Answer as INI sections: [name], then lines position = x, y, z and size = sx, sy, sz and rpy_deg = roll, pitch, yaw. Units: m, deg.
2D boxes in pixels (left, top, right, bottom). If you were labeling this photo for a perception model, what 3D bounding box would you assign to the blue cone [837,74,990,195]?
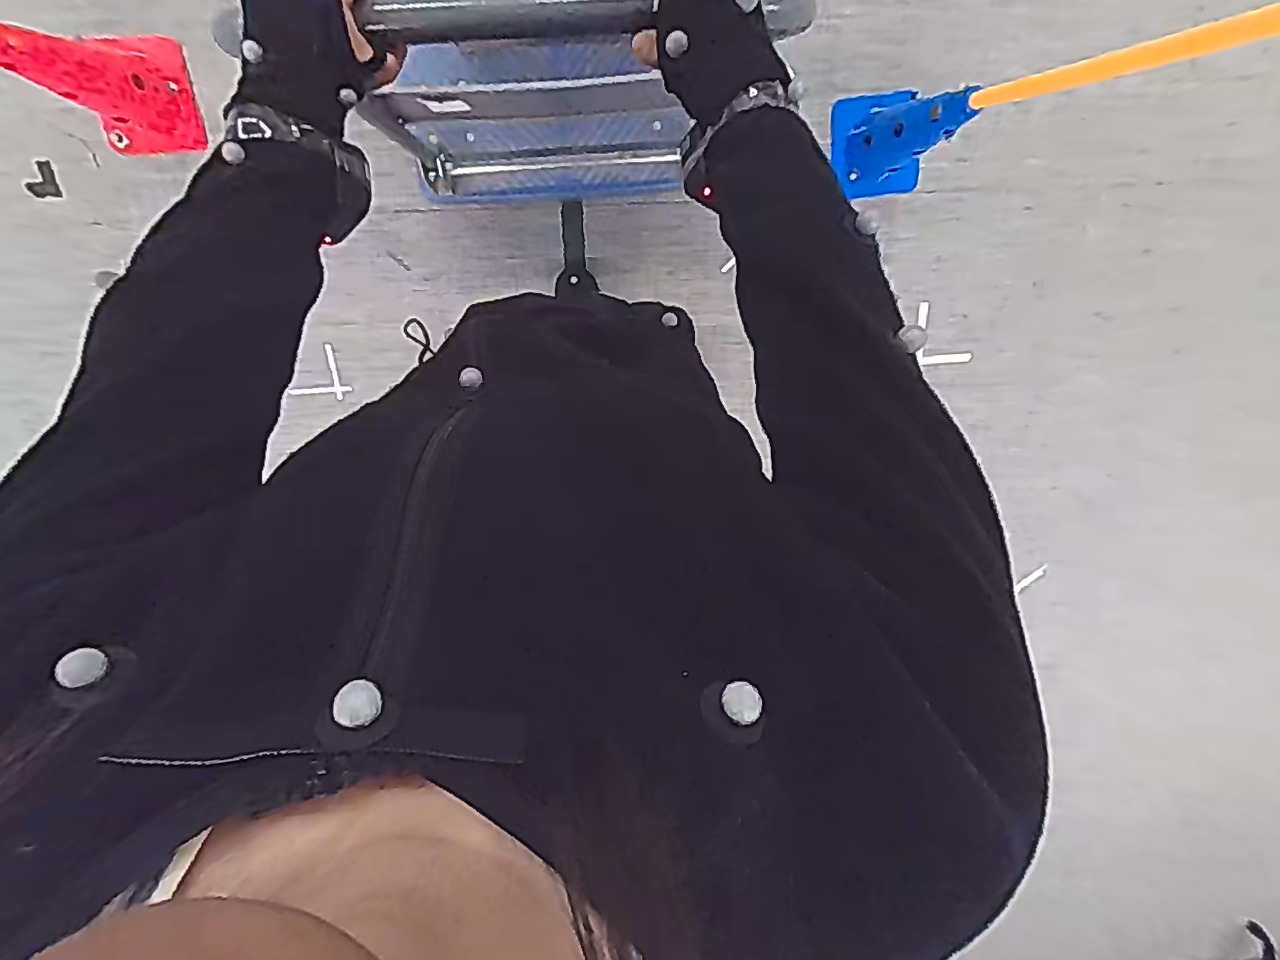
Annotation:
[blue cone]
position = 0.539, -0.688, 1.046
size = 0.193, 0.380, 0.192
rpy_deg = -6, 110, -1
